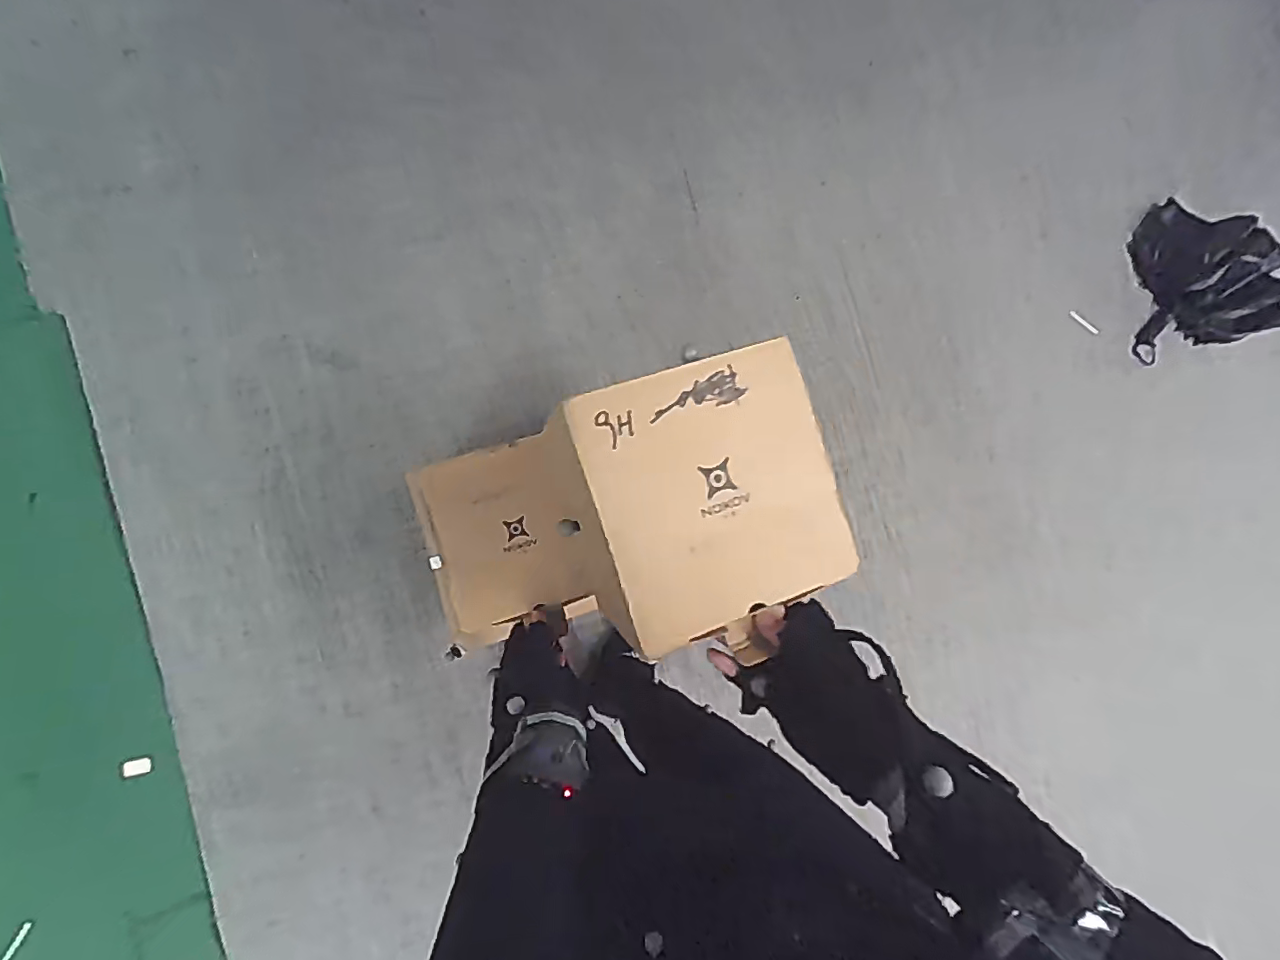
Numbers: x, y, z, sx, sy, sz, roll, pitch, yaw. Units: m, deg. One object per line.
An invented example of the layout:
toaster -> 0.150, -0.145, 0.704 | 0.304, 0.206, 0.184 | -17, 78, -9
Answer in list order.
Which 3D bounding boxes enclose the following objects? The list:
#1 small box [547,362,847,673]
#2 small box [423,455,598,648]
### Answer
small box -> 0.030, 0.024, 0.442 | 0.168, 0.176, 0.179 | -18, 92, -15
small box -> -0.134, 0.073, 0.647 | 0.168, 0.176, 0.179 | -17, 90, -8
